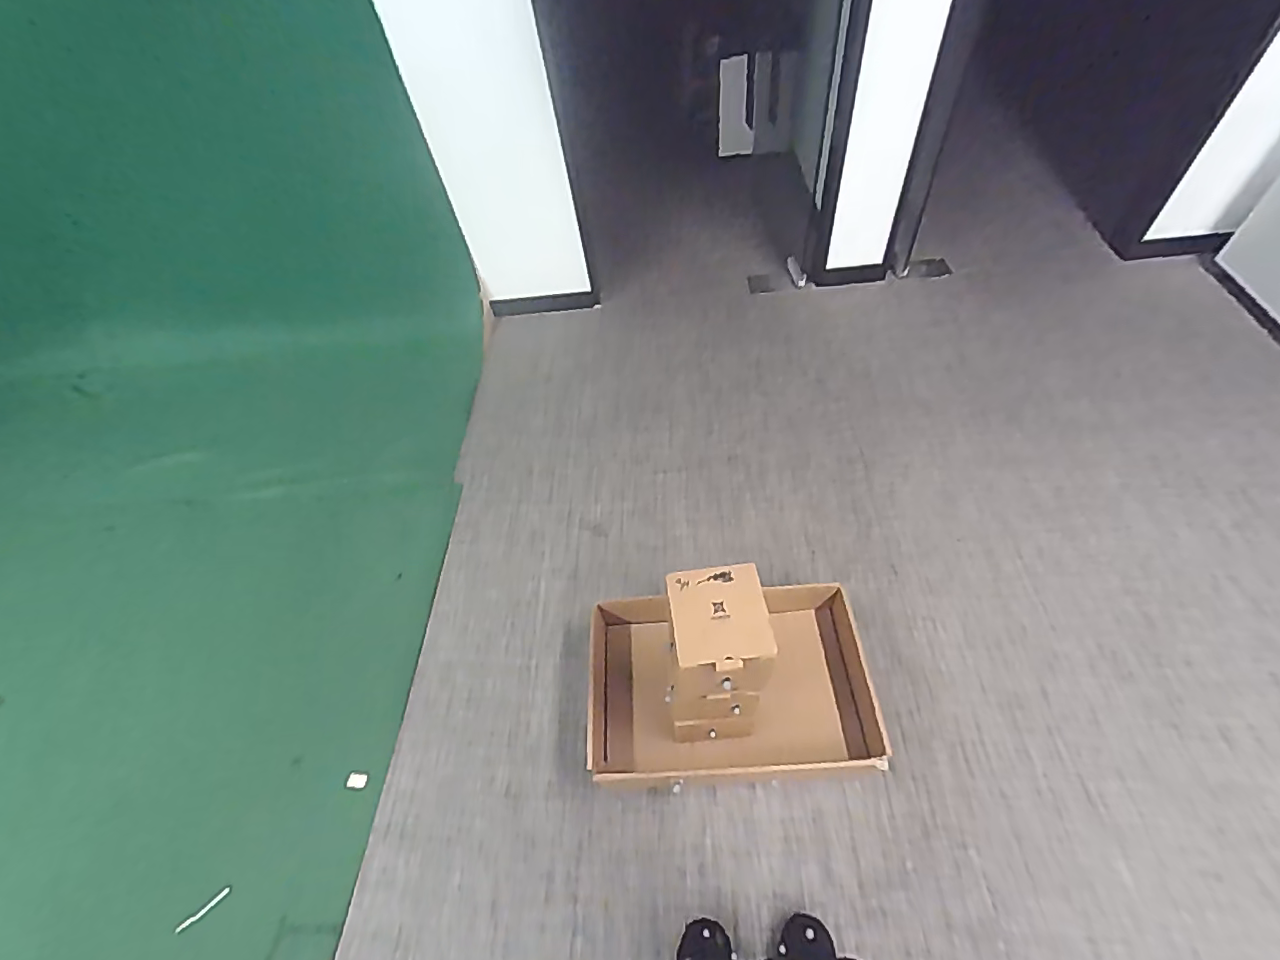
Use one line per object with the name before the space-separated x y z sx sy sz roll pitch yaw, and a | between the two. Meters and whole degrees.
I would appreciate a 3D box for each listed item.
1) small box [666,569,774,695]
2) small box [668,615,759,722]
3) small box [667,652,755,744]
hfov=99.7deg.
small box | 0.140 0.284 0.989 0.168 0.176 0.179 -6 52 1
small box | 0.146 0.389 1.115 0.168 0.176 0.179 -3 50 2
small box | 0.158 0.494 1.236 0.179 0.176 0.168 -6 51 4
